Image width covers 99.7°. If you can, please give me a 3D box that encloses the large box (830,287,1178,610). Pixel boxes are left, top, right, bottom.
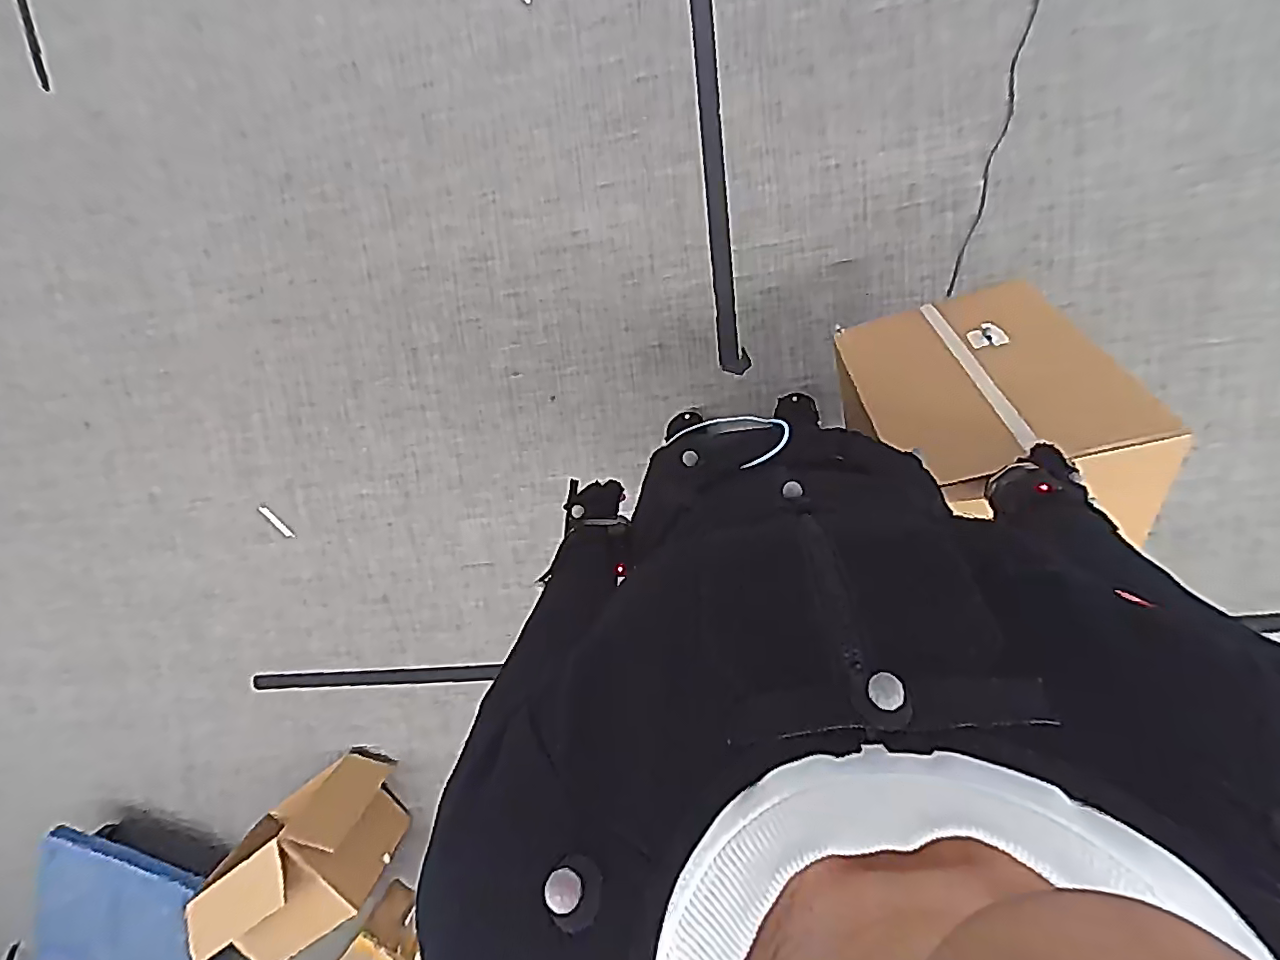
[{"bbox_3d":[0.543,-0.054,0.907,0.320,0.408,0.320,-14,132,13],"label":"large box"}]
